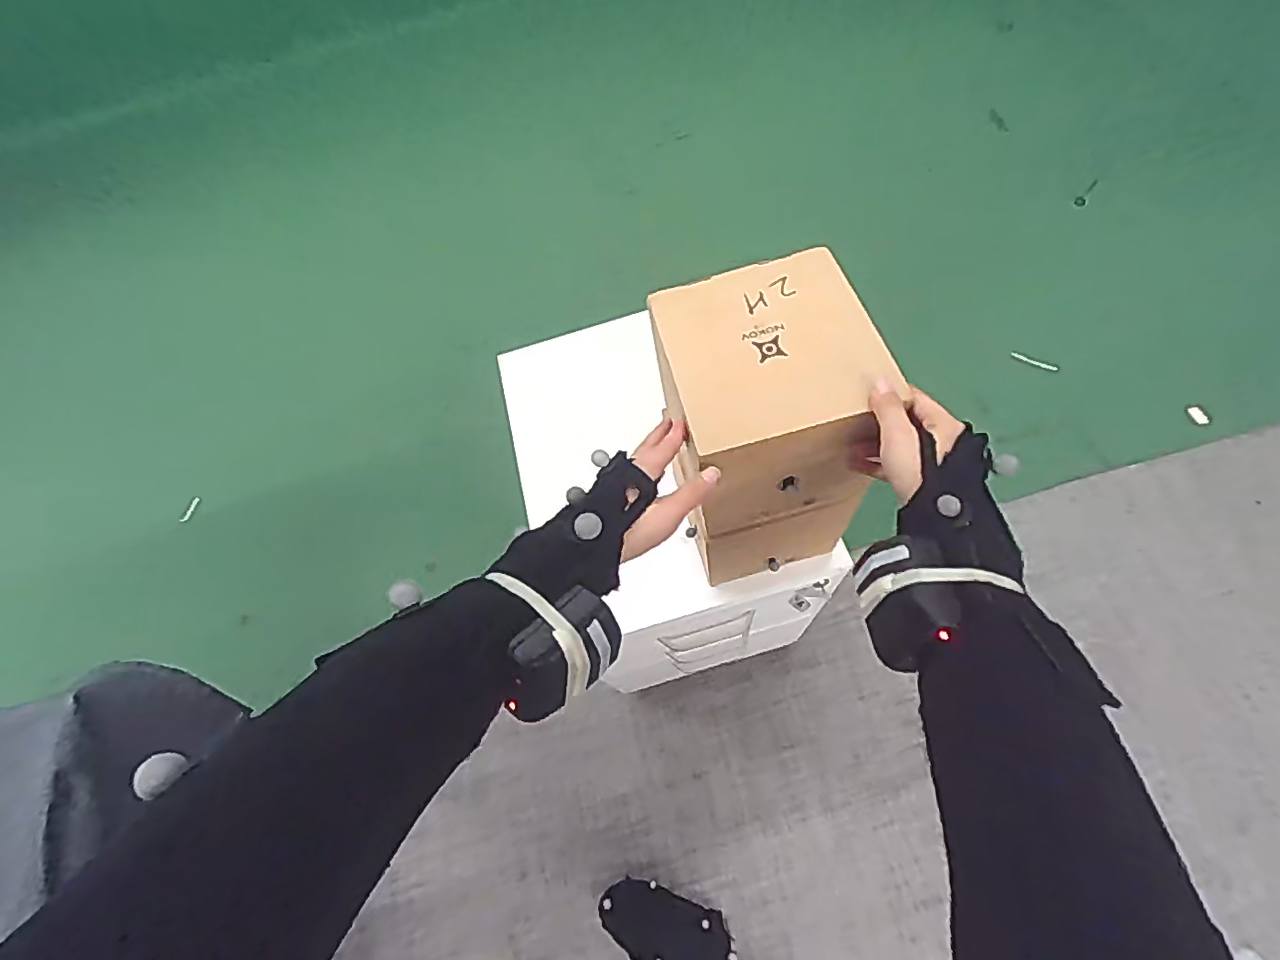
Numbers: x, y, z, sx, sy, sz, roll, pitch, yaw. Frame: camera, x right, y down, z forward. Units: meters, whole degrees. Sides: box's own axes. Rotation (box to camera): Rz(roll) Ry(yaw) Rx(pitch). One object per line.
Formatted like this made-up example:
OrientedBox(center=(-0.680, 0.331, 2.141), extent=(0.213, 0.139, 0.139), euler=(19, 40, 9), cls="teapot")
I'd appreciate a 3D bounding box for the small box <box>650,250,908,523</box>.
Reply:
OrientedBox(center=(0.115, -0.073, 0.508), extent=(0.168, 0.176, 0.179), euler=(-14, 62, 1), cls="small box")
